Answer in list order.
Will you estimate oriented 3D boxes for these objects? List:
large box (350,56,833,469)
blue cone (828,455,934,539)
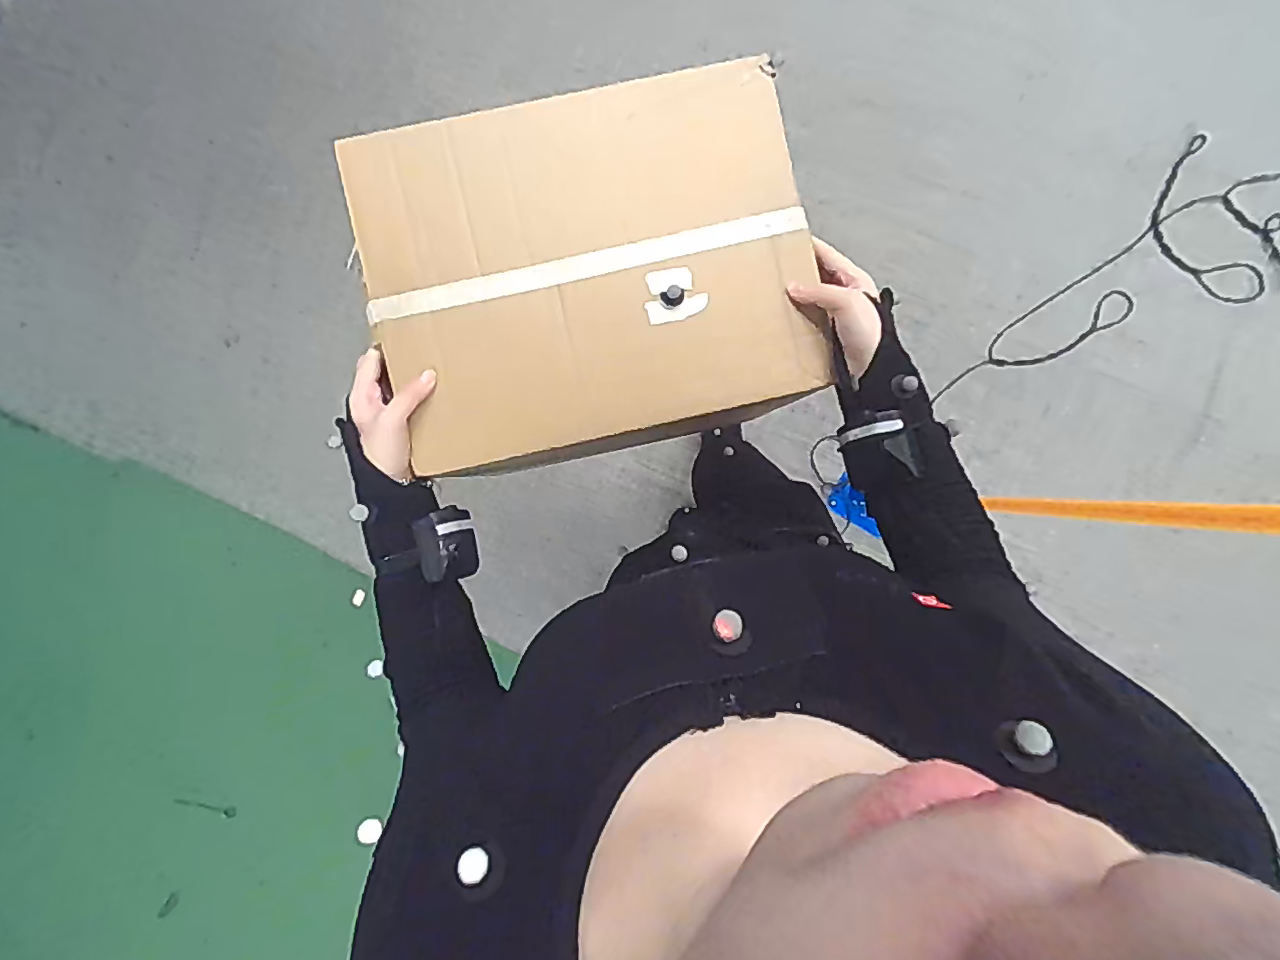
[{"bbox_3d":[-0.049,-0.208,0.651,0.408,0.320,0.320,-13,91,-3],"label":"large box"},{"bbox_3d":[0.605,0.047,1.277,0.193,0.380,0.192,33,95,6],"label":"blue cone"}]
